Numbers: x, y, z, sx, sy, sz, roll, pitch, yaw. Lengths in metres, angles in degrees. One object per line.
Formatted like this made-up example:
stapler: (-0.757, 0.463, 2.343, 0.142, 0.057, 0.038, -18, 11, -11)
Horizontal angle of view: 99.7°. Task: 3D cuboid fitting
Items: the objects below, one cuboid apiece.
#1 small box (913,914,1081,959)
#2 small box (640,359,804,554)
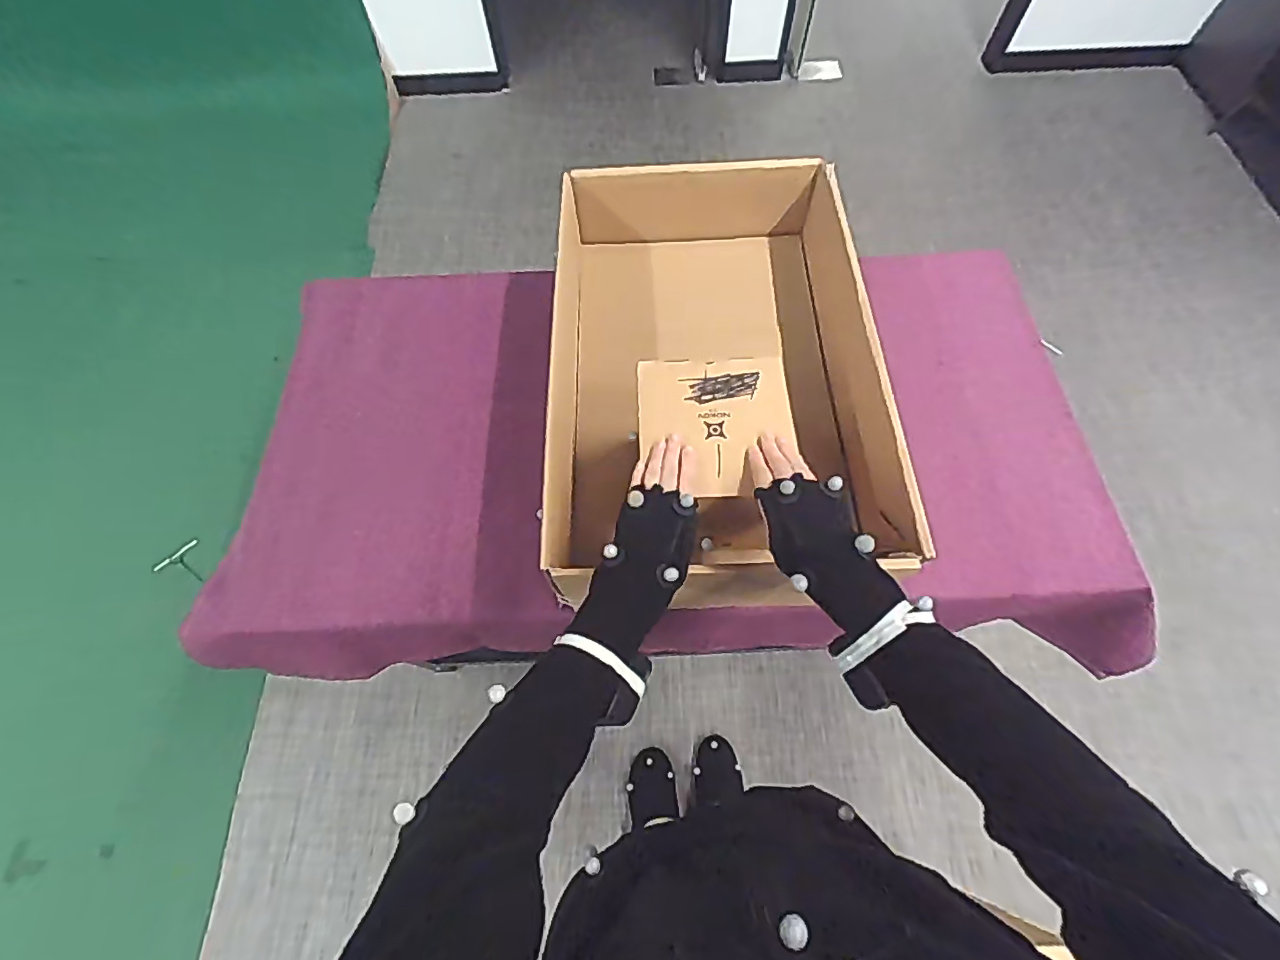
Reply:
small box: (0.522, 0.752, 0.779, 0.168, 0.176, 0.179, -1, 64, 1)
small box: (0.083, -0.022, 0.649, 0.168, 0.176, 0.179, -2, 64, 1)
